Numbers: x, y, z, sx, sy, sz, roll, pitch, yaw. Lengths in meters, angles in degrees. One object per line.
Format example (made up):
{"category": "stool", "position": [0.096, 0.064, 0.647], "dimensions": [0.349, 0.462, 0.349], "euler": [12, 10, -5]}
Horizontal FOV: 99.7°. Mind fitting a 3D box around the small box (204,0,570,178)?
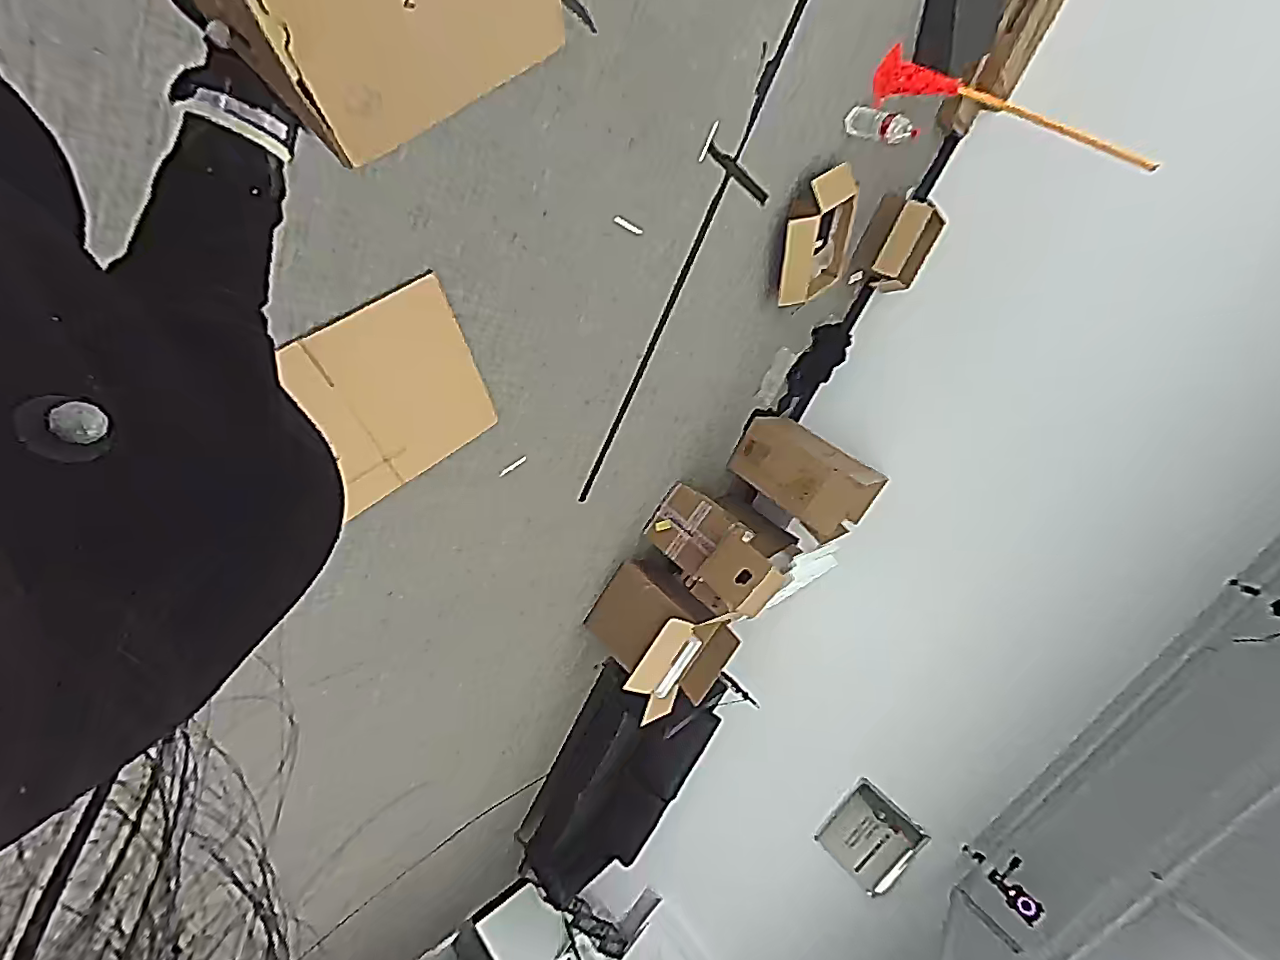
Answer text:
{"category": "small box", "position": [-0.163, -0.323, 0.297], "dimensions": [0.179, 0.176, 0.168], "euler": [-42, 172, -13]}
